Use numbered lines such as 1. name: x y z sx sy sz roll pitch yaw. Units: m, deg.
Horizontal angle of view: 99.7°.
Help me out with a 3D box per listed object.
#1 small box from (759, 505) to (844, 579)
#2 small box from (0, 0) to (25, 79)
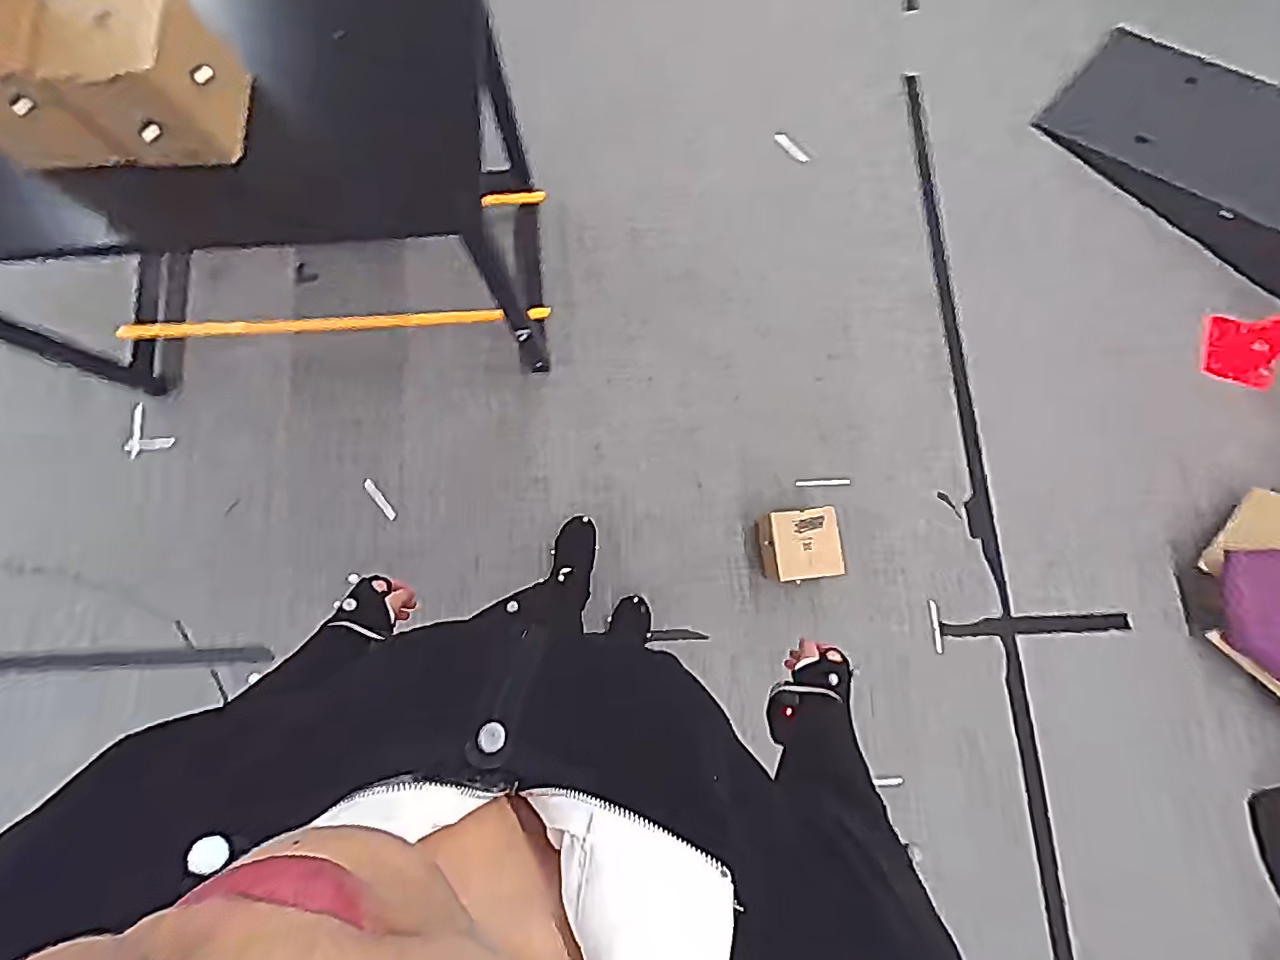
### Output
1. small box: 0.421 0.170 1.439 0.168 0.176 0.179 -6 81 -1
2. small box: -0.942 -0.646 0.674 0.168 0.176 0.179 -1 81 2
